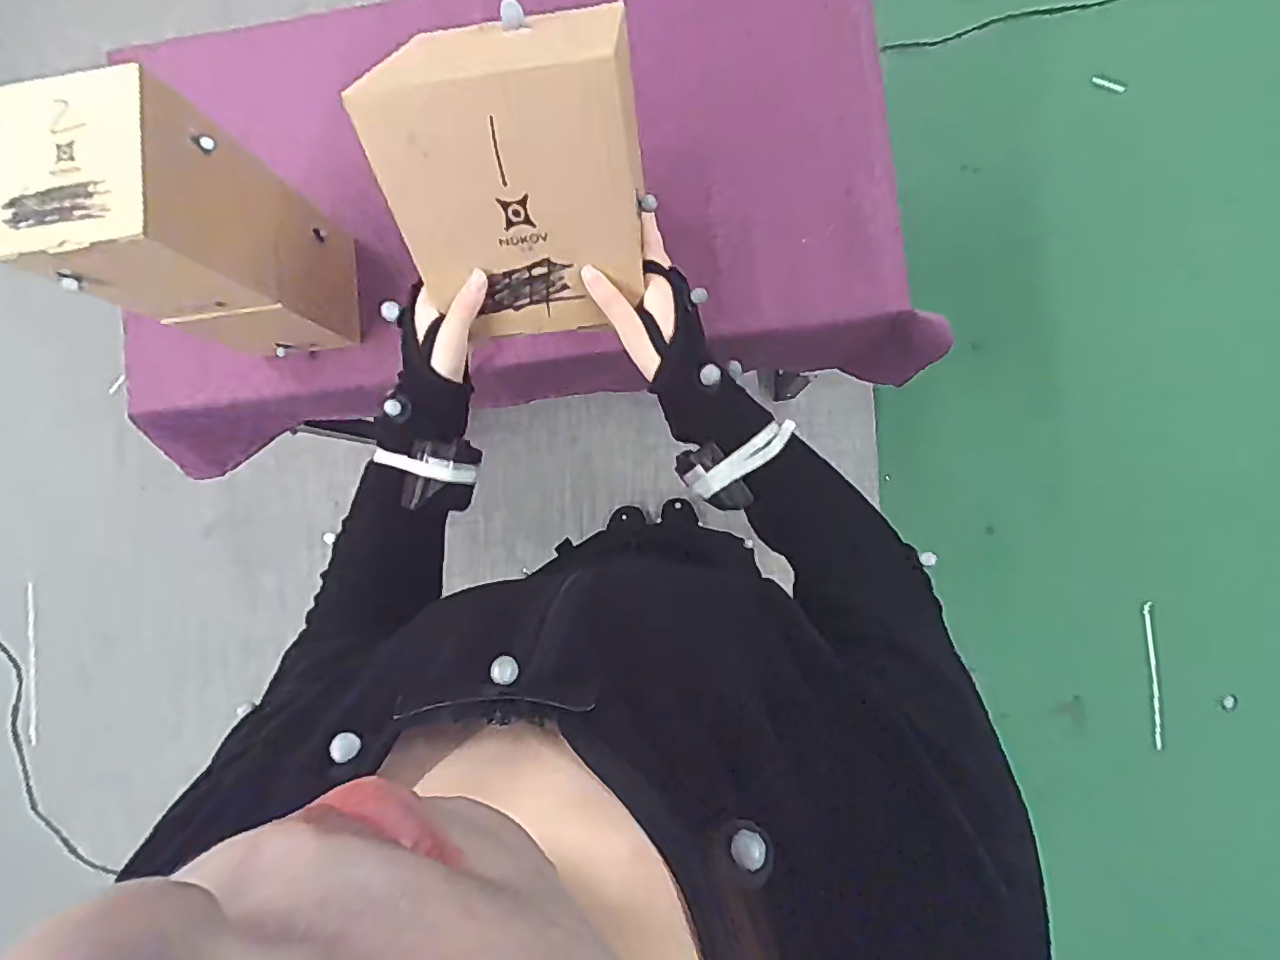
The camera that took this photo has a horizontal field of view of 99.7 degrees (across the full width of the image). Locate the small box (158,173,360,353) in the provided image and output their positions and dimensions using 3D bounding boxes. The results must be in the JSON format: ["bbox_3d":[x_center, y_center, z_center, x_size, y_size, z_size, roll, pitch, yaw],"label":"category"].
[{"bbox_3d":[-0.523,-0.293,0.763,0.168,0.176,0.179,-5,88,5],"label":"small box"}]

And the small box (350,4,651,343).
[{"bbox_3d":[-0.080,-0.233,0.423,0.168,0.179,0.176,-4,49,5],"label":"small box"}]
